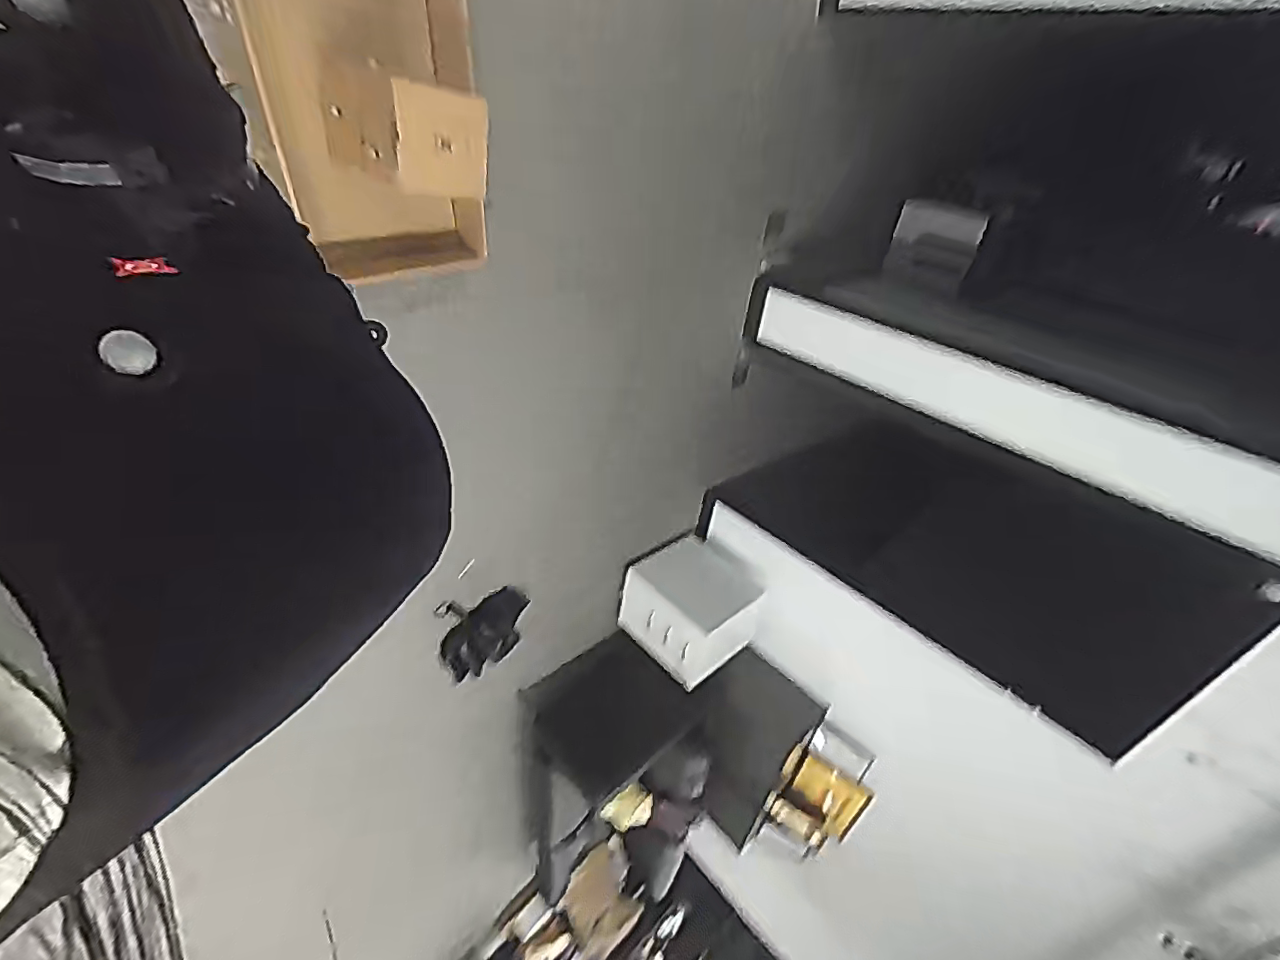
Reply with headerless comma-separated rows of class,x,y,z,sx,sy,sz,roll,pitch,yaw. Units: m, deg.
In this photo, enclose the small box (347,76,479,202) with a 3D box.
small box,-0.423,-0.630,1.003,0.179,0.176,0.168,-21,135,-43
